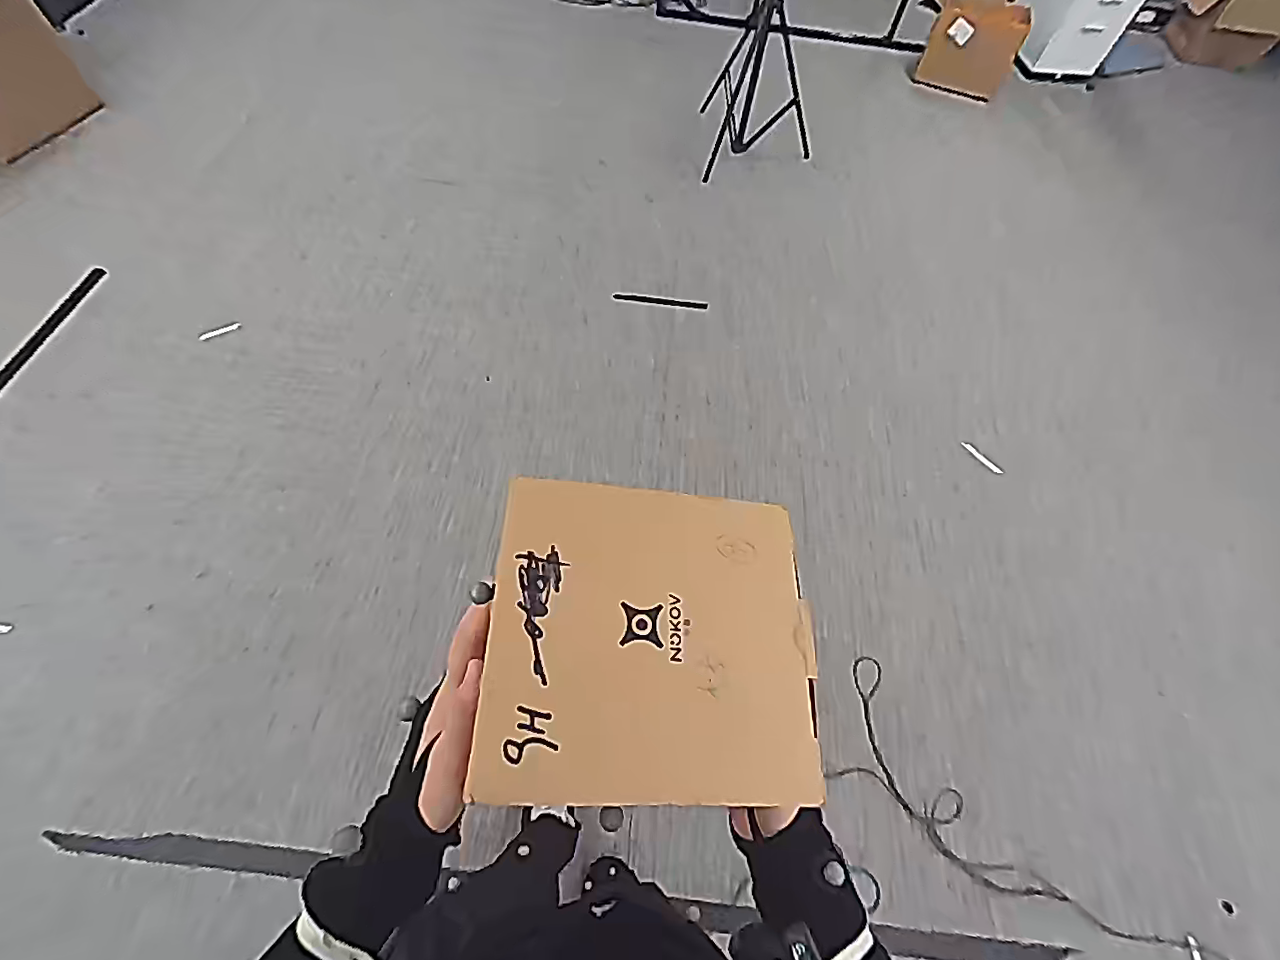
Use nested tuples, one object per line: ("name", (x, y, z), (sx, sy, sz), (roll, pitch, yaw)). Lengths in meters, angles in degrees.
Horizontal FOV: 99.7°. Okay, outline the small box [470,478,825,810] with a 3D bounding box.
("small box", (-0.008, 0.118, 0.358), (0.179, 0.176, 0.168), (7, 60, -11))
